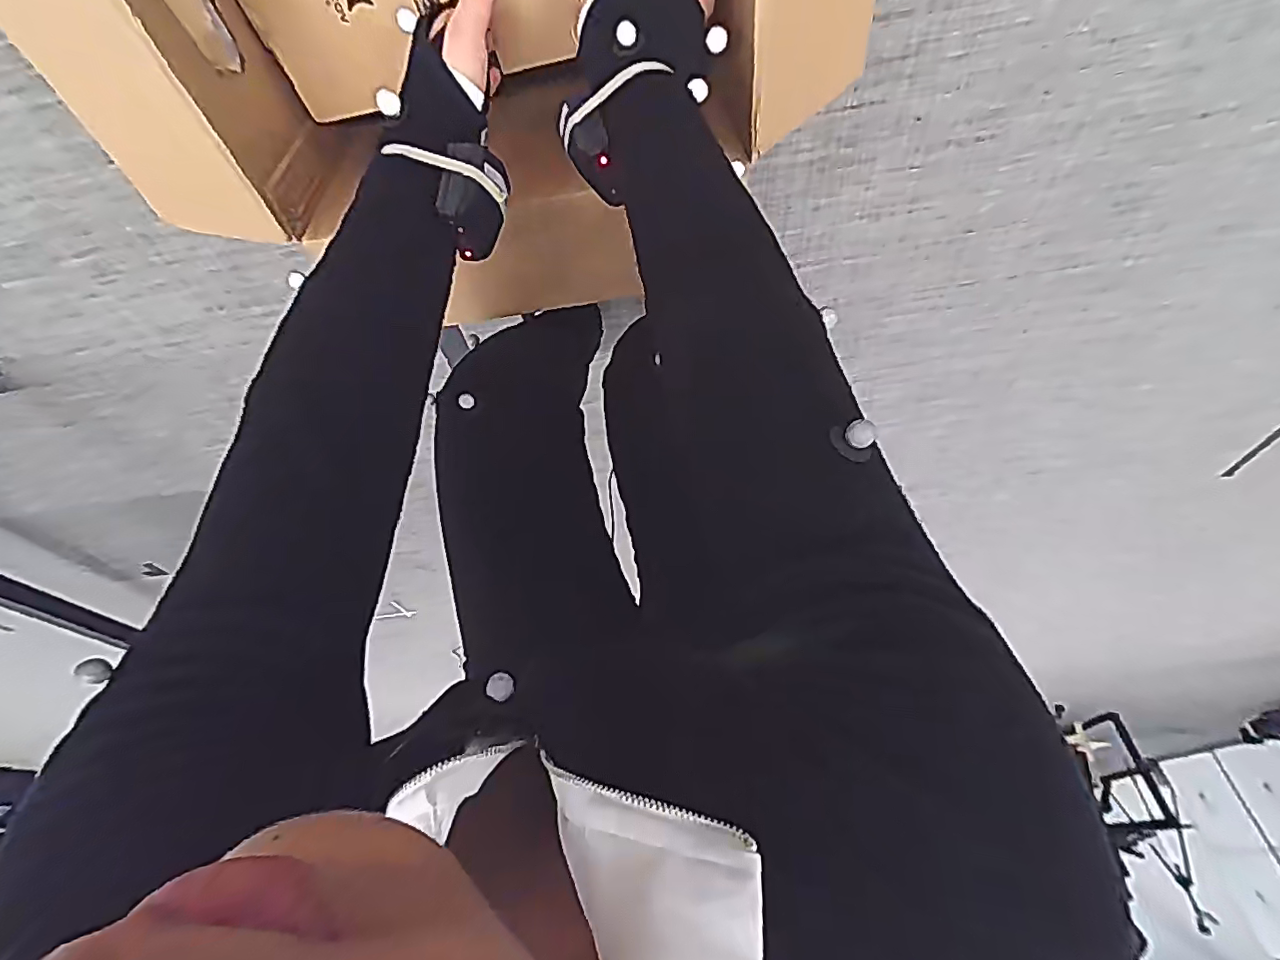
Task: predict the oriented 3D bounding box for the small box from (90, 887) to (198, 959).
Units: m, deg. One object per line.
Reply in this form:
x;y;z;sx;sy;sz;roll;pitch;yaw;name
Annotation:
-1.174;1.049;1.247;0.179;0.176;0.168;-7;143;5;small box
